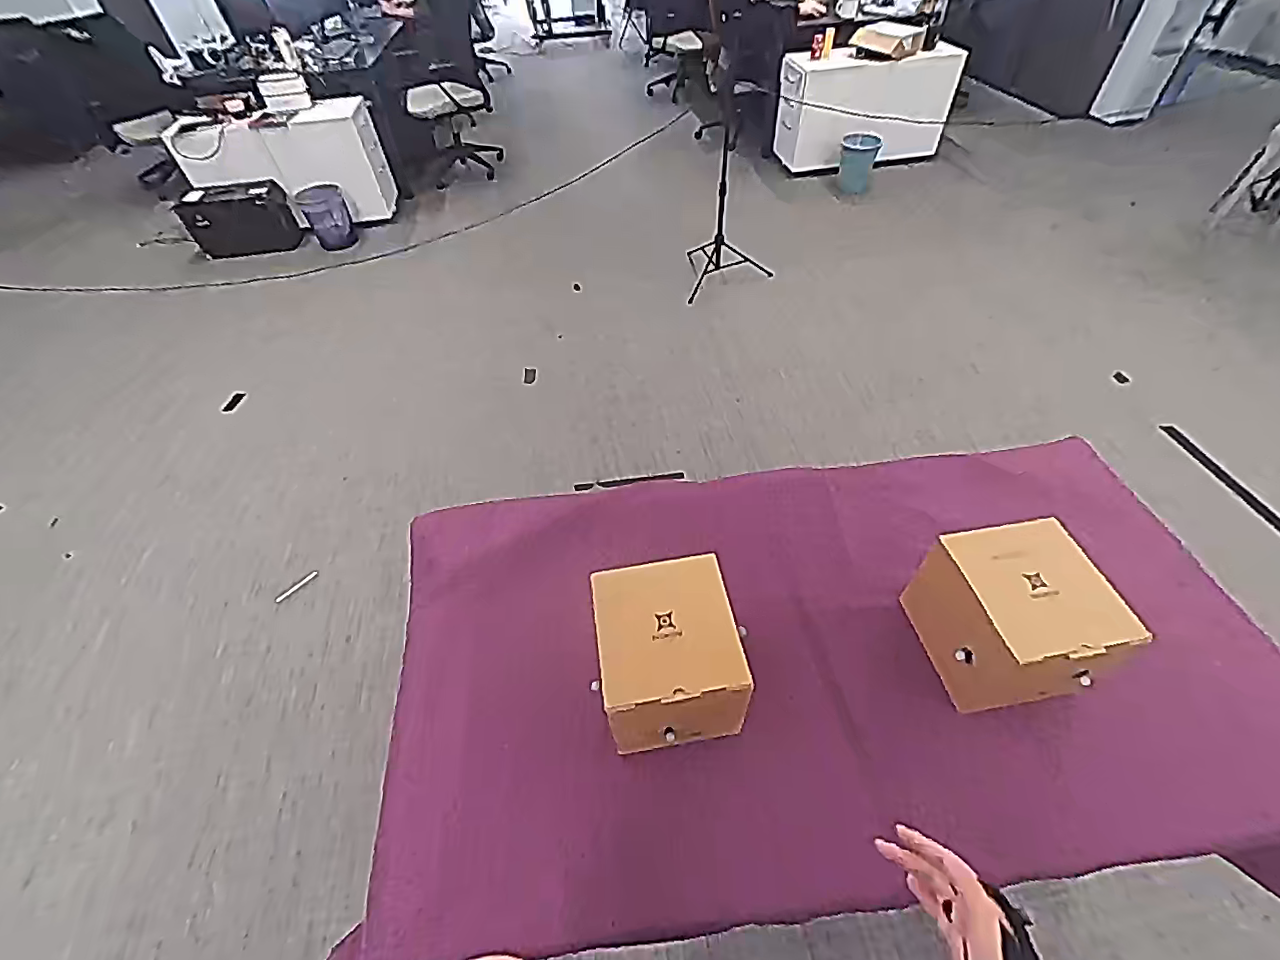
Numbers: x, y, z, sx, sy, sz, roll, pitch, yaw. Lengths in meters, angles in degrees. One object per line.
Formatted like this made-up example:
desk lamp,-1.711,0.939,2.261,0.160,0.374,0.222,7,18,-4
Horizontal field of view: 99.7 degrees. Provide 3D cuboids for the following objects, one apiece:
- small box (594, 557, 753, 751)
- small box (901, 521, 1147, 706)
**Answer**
small box,0.034,0.227,0.703,0.168,0.176,0.179,-9,50,-4
small box,0.481,0.182,0.713,0.168,0.176,0.179,-8,49,-4
